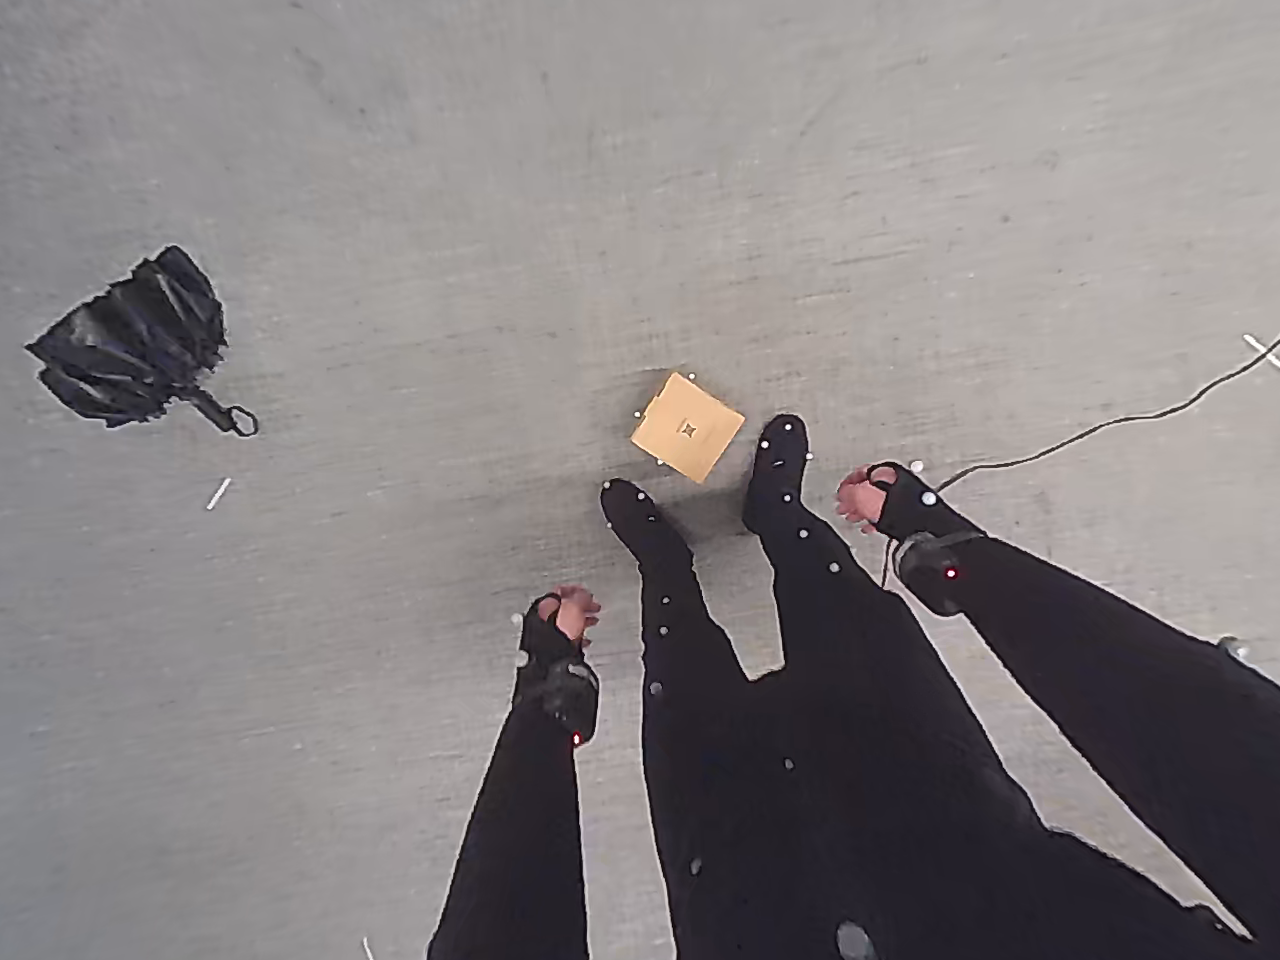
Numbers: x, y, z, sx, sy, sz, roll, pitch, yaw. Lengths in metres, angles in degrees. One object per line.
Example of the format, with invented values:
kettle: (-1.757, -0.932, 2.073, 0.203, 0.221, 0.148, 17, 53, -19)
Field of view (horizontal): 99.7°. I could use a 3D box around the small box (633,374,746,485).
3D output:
small box: (0.099, -0.116, 1.171, 0.179, 0.176, 0.168, 31, 103, -8)
